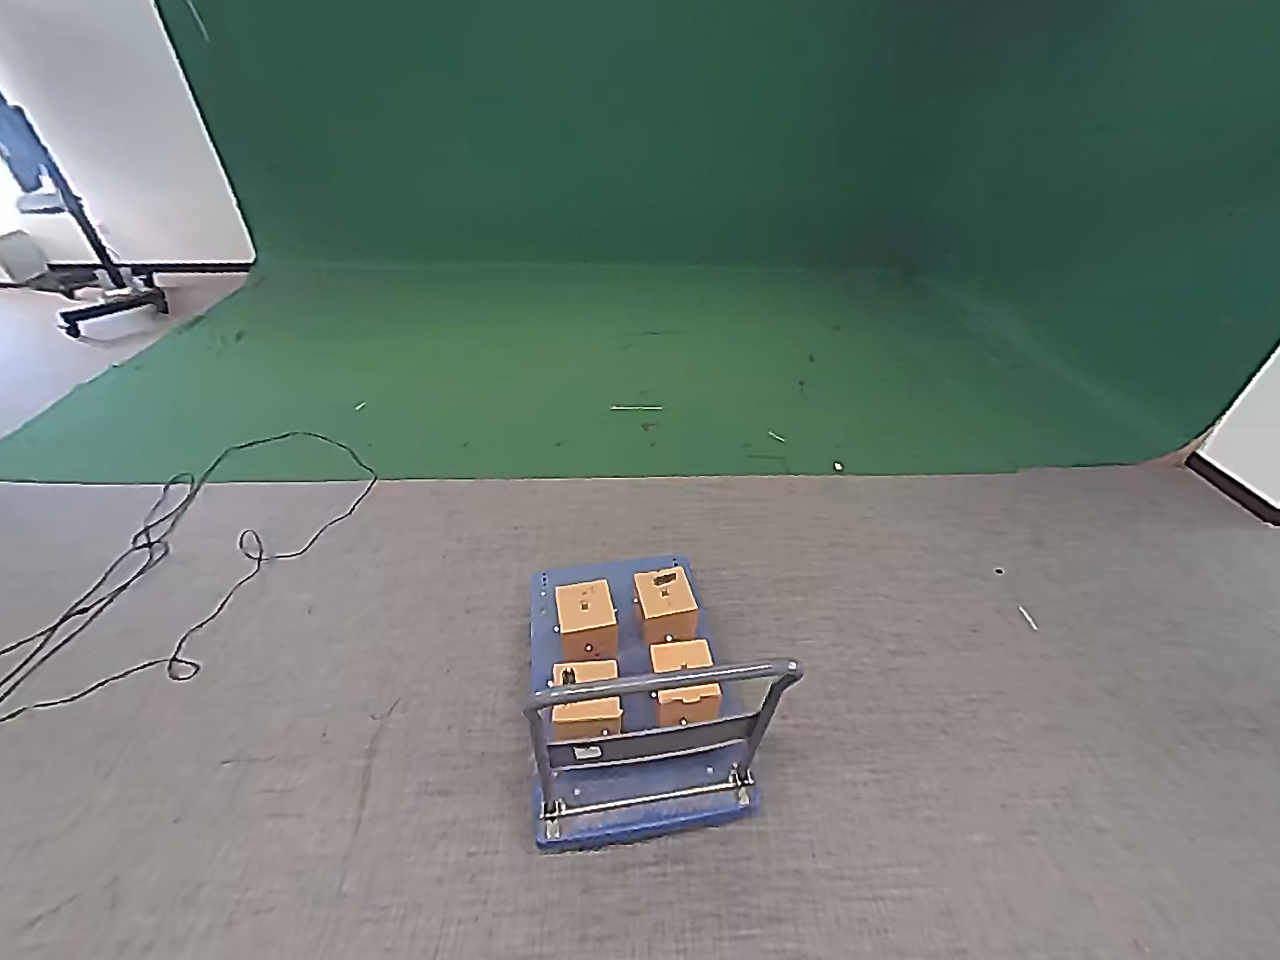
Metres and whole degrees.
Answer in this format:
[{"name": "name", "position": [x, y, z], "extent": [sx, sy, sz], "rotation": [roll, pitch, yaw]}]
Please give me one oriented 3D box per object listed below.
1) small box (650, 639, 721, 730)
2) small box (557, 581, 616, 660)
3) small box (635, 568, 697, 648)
[{"name": "small box", "position": [0.121, 0.584, 1.545], "extent": [0.168, 0.176, 0.179], "rotation": [-5, 40, -7]}, {"name": "small box", "position": [-0.168, 0.447, 1.703], "extent": [0.168, 0.176, 0.179], "rotation": [-7, 40, -11]}, {"name": "small box", "position": [0.078, 0.413, 1.750], "extent": [0.168, 0.176, 0.179], "rotation": [-8, 41, -10]}]
